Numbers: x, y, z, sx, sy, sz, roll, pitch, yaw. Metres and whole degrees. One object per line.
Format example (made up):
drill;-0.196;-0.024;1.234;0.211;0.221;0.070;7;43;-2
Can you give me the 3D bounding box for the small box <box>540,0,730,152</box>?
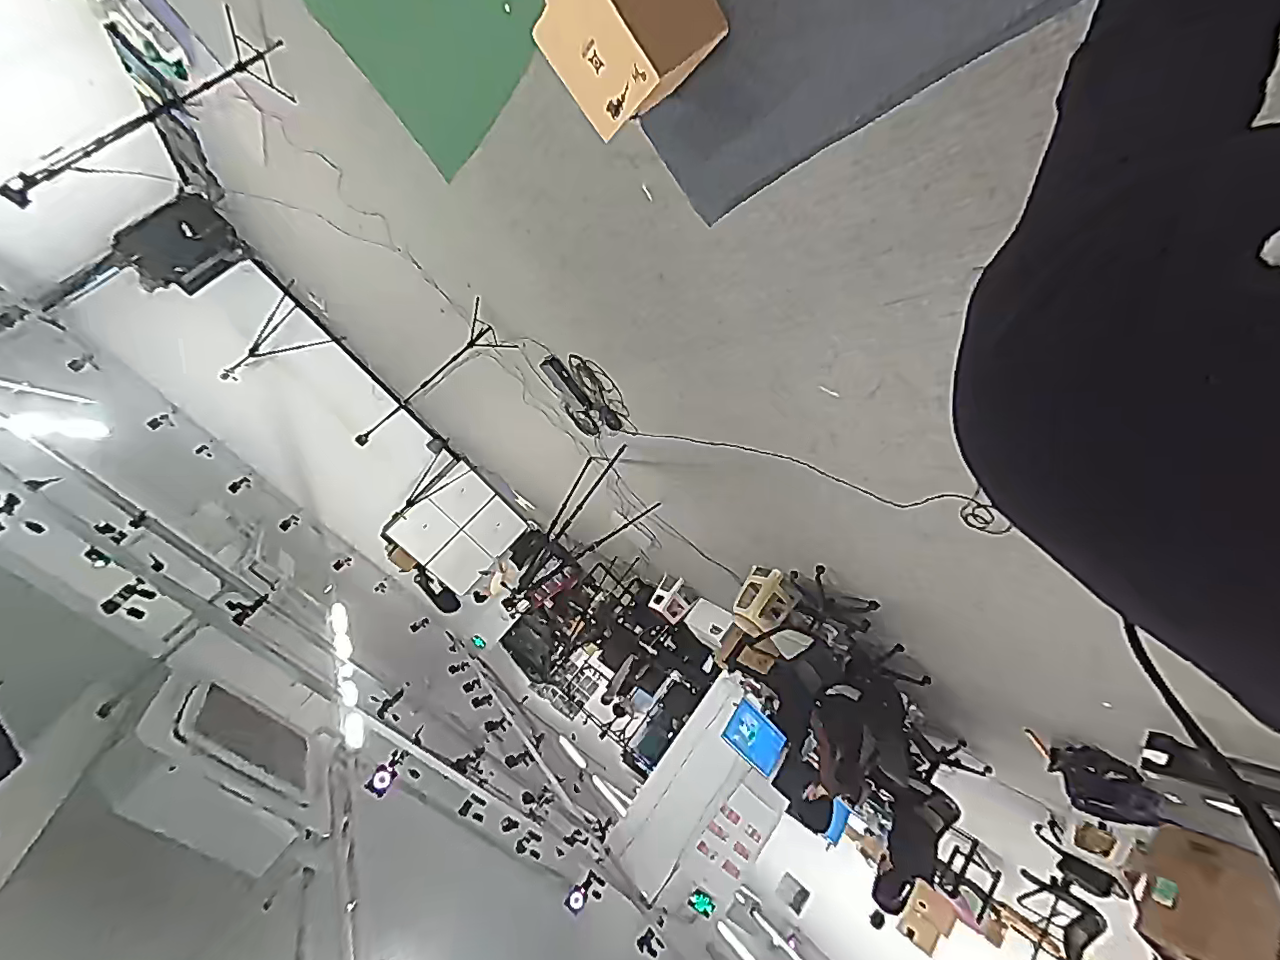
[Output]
small box;-0.006;-0.632;0.782;0.179;0.176;0.168;50;159;-21
